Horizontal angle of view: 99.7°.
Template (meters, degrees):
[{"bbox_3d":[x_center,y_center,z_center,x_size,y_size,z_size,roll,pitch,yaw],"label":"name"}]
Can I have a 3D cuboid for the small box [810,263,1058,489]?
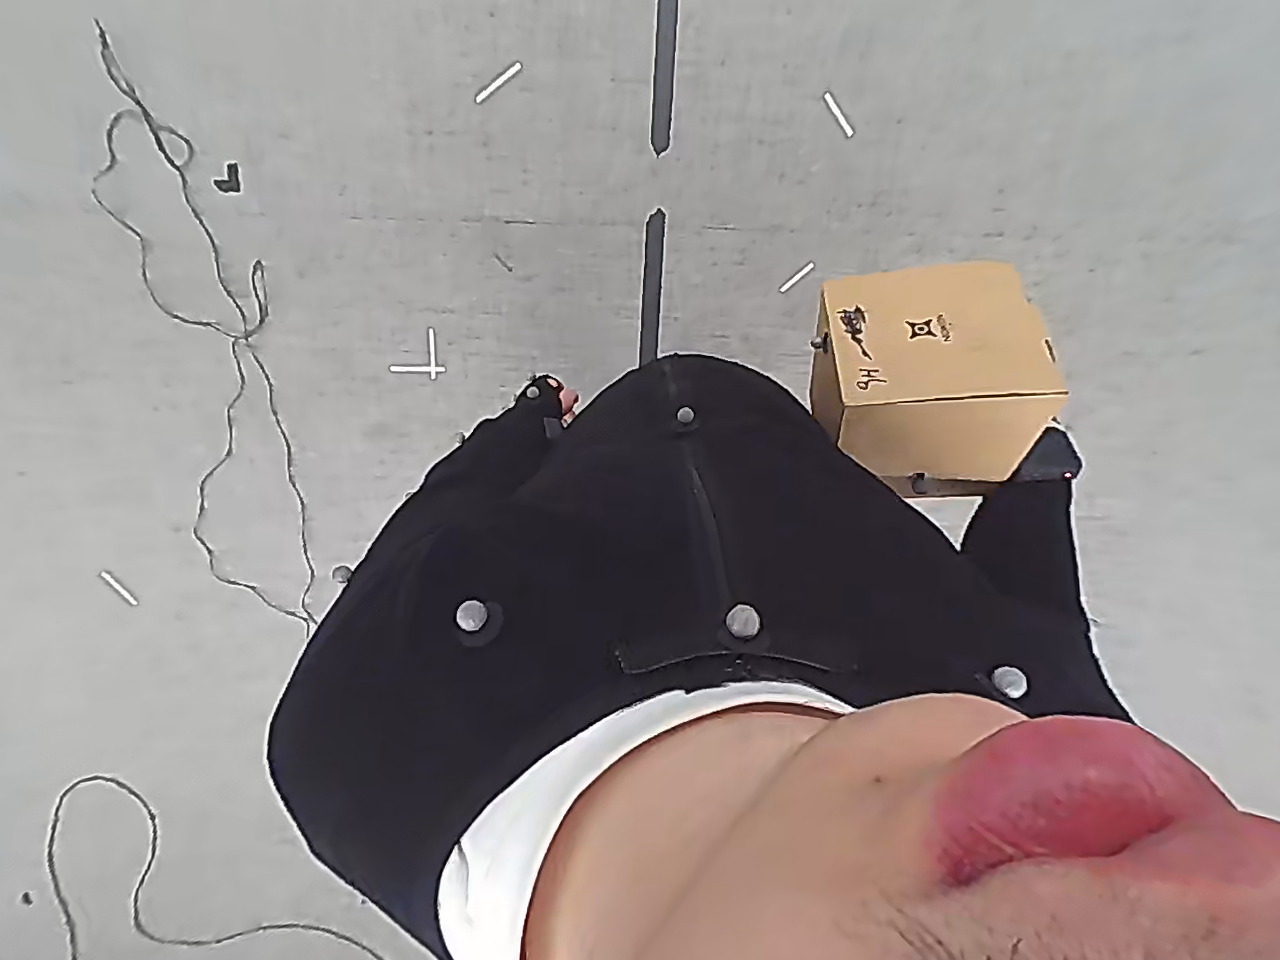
[{"bbox_3d":[0.286,-0.101,0.576,0.179,0.168,0.176,-2,148,11],"label":"small box"}]
